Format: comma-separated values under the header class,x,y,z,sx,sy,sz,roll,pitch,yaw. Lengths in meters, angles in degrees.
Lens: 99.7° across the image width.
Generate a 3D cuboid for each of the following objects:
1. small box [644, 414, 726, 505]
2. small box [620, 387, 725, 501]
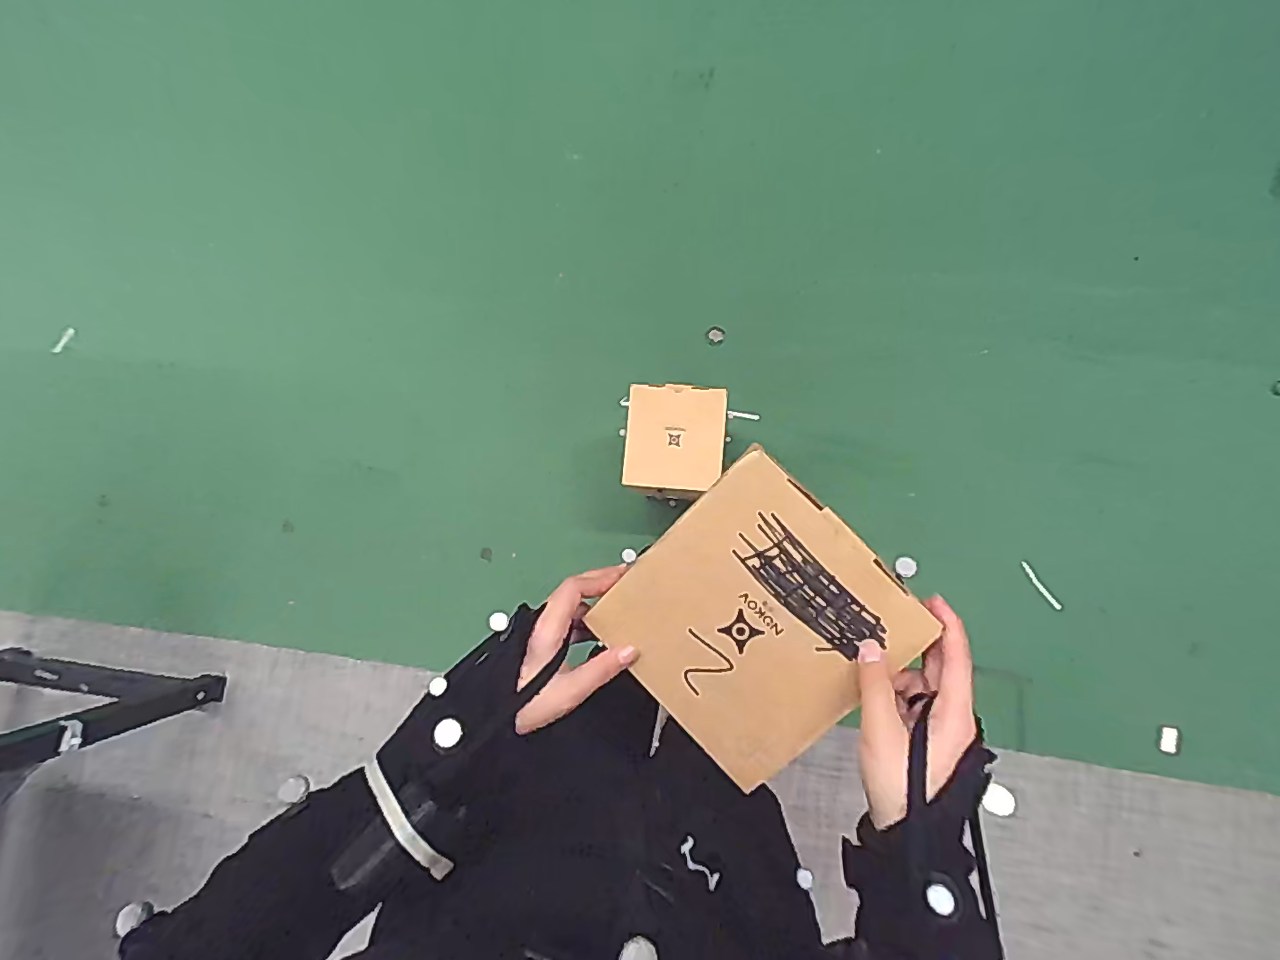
class,x,y,z,sx,sy,sz,roll,pitch,yaw
small box,0.087,-0.045,1.141,0.168,0.176,0.179,5,85,6
small box,0.063,-0.058,0.980,0.168,0.176,0.179,4,84,6
